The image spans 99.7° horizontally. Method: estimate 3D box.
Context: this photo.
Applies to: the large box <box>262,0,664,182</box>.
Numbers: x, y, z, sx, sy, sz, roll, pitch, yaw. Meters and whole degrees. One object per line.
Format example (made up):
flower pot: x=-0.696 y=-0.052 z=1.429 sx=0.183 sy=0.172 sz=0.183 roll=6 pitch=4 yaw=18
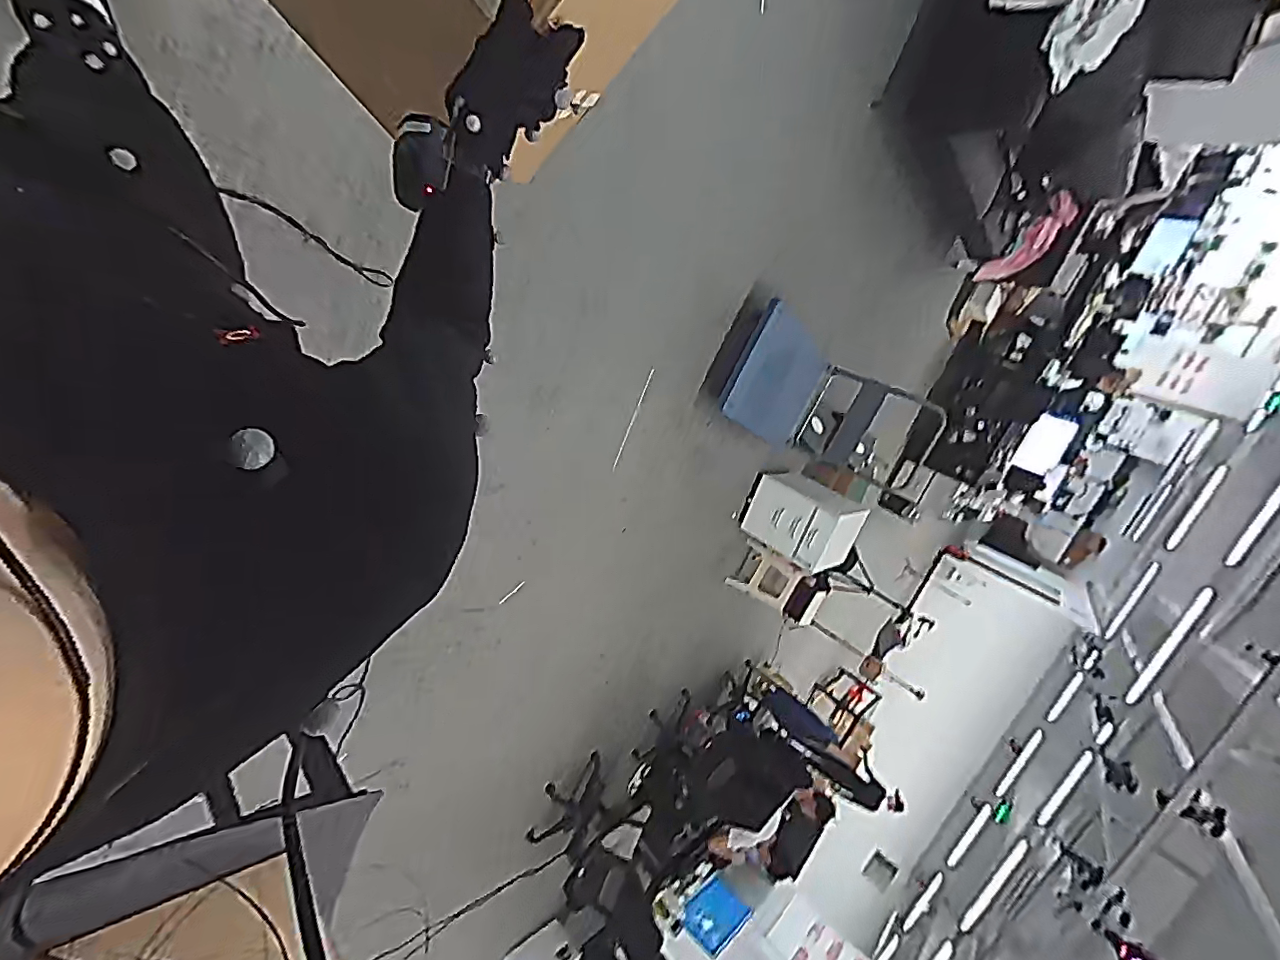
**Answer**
large box: x=-0.226 y=-0.606 z=0.590 sx=0.320 sy=0.408 sz=0.320 roll=-38 pitch=-164 yaw=22
